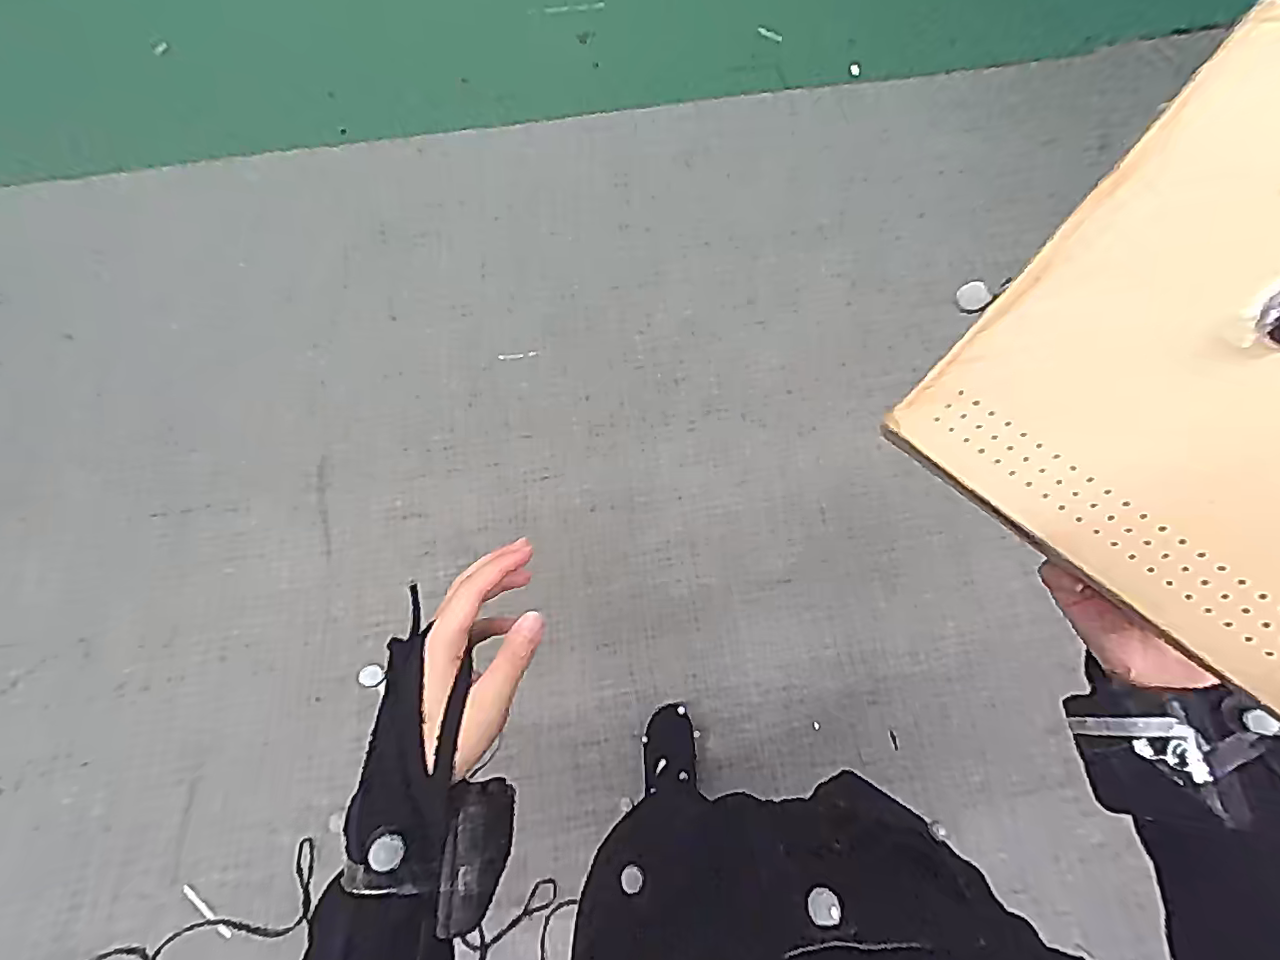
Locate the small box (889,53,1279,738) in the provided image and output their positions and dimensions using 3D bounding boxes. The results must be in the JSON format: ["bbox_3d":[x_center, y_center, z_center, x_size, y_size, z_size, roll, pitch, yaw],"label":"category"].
[{"bbox_3d":[0.236,-0.024,0.242,0.179,0.168,0.176,40,109,16],"label":"small box"}]
